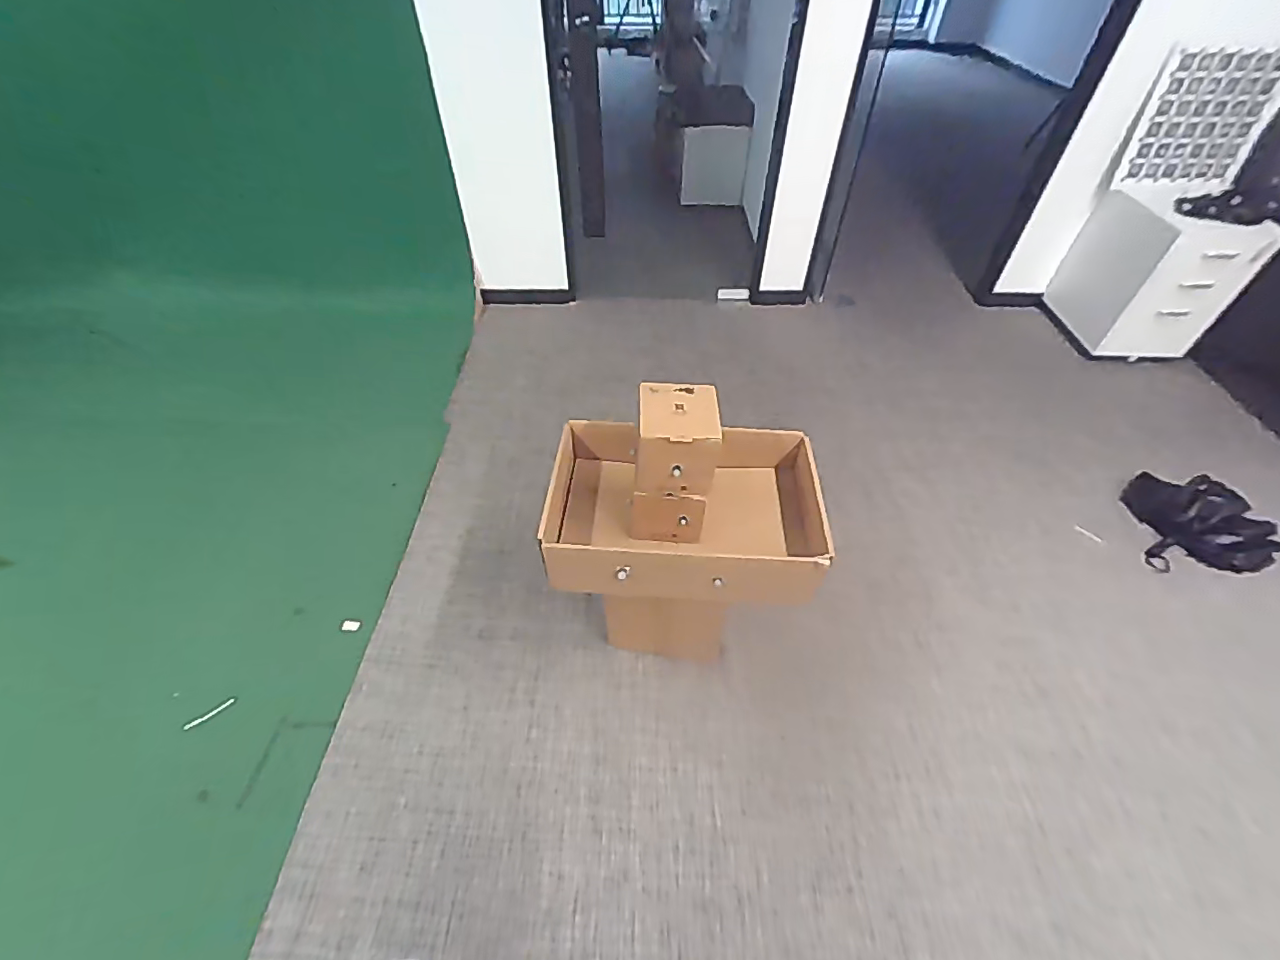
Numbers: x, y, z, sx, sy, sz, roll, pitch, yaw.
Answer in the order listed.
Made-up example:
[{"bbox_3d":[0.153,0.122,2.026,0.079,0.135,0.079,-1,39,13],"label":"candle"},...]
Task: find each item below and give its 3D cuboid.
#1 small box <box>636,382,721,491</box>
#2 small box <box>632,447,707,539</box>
[{"bbox_3d":[0.079,-0.092,1.183,0.168,0.176,0.179,3,48,-2],"label":"small box"},{"bbox_3d":[0.068,0.024,1.299,0.168,0.176,0.179,5,46,0],"label":"small box"}]
